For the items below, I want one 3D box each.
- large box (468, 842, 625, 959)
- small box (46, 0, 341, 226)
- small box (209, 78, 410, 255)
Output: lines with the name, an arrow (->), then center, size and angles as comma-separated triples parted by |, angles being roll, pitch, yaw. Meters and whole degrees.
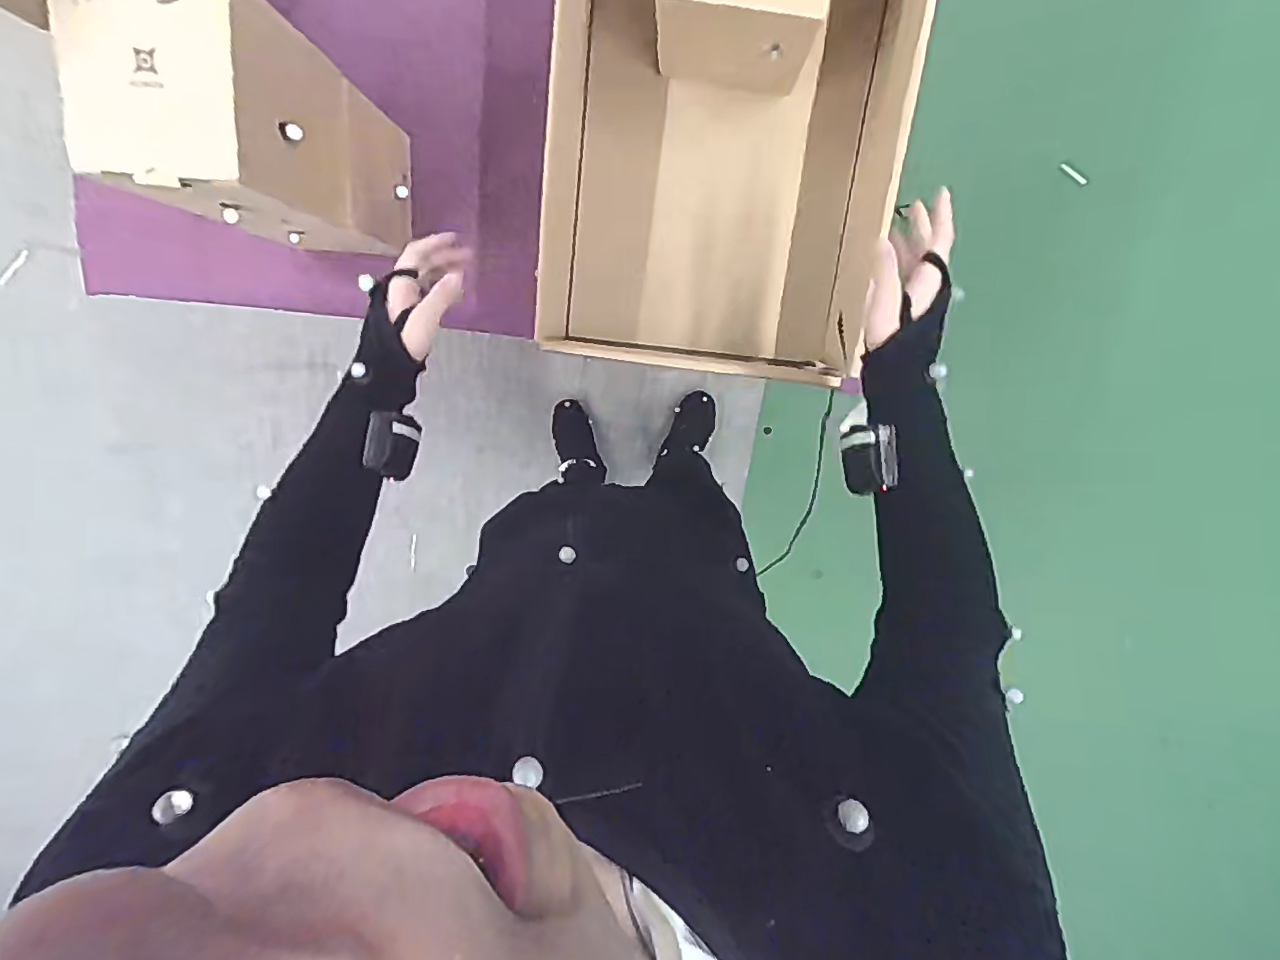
large box -> -0.299, 1.533, 1.835 | 0.408, 0.320, 0.320 | -24, 101, 6
small box -> -0.434, -0.376, 0.558 | 0.168, 0.176, 0.179 | 5, 103, 0
small box -> -0.429, -0.405, 0.718 | 0.179, 0.176, 0.168 | 4, 102, 1
